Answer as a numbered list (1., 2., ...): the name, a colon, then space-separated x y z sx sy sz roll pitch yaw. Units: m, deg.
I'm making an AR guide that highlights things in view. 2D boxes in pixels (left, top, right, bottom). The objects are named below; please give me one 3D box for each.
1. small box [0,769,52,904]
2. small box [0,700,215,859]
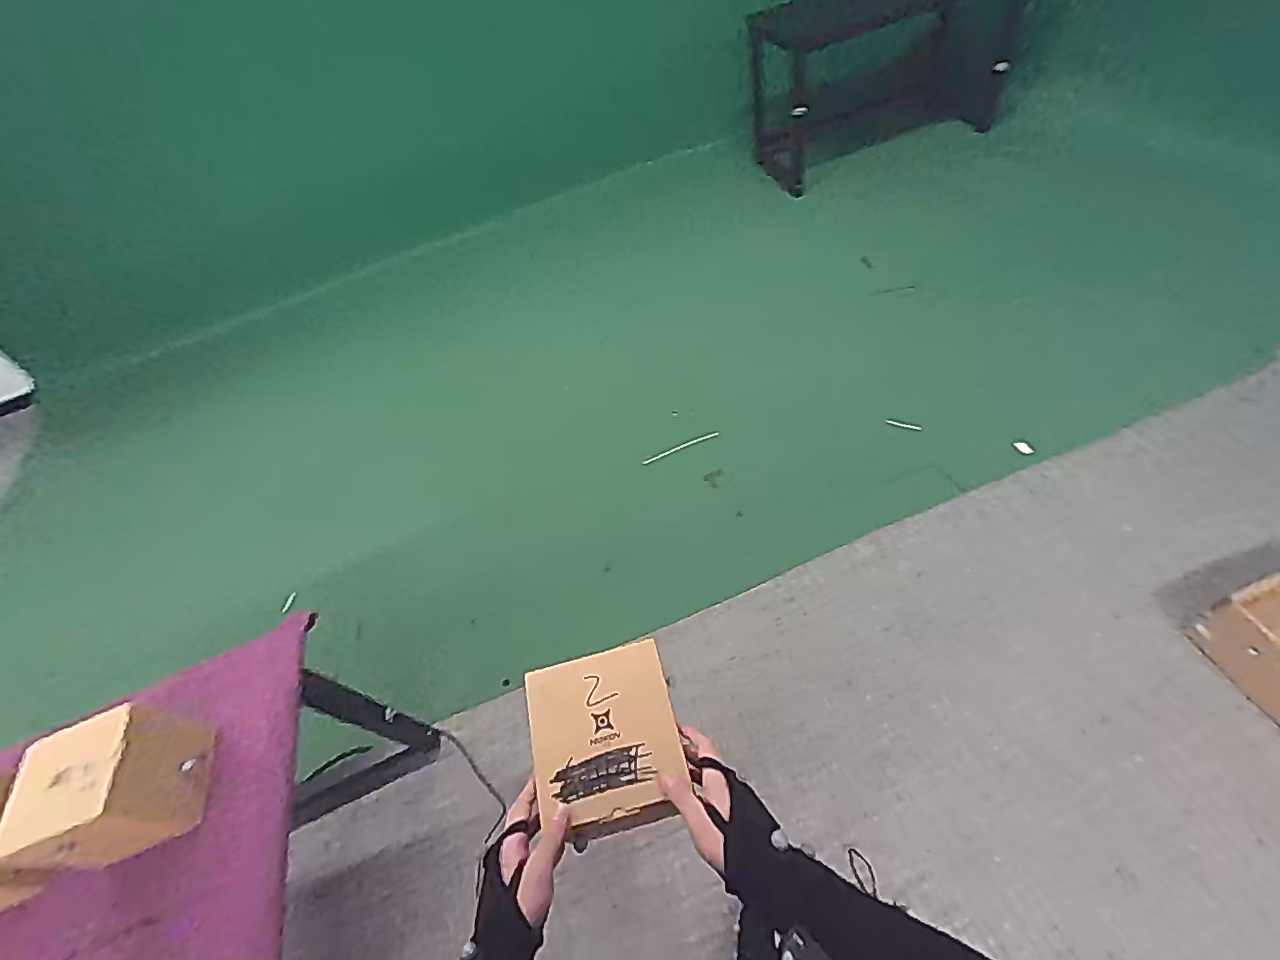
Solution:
1. small box: -1.088 0.586 0.859 0.179 0.176 0.168 -23 52 -4
2. small box: -0.845 0.486 0.870 0.179 0.176 0.168 -22 52 -1
